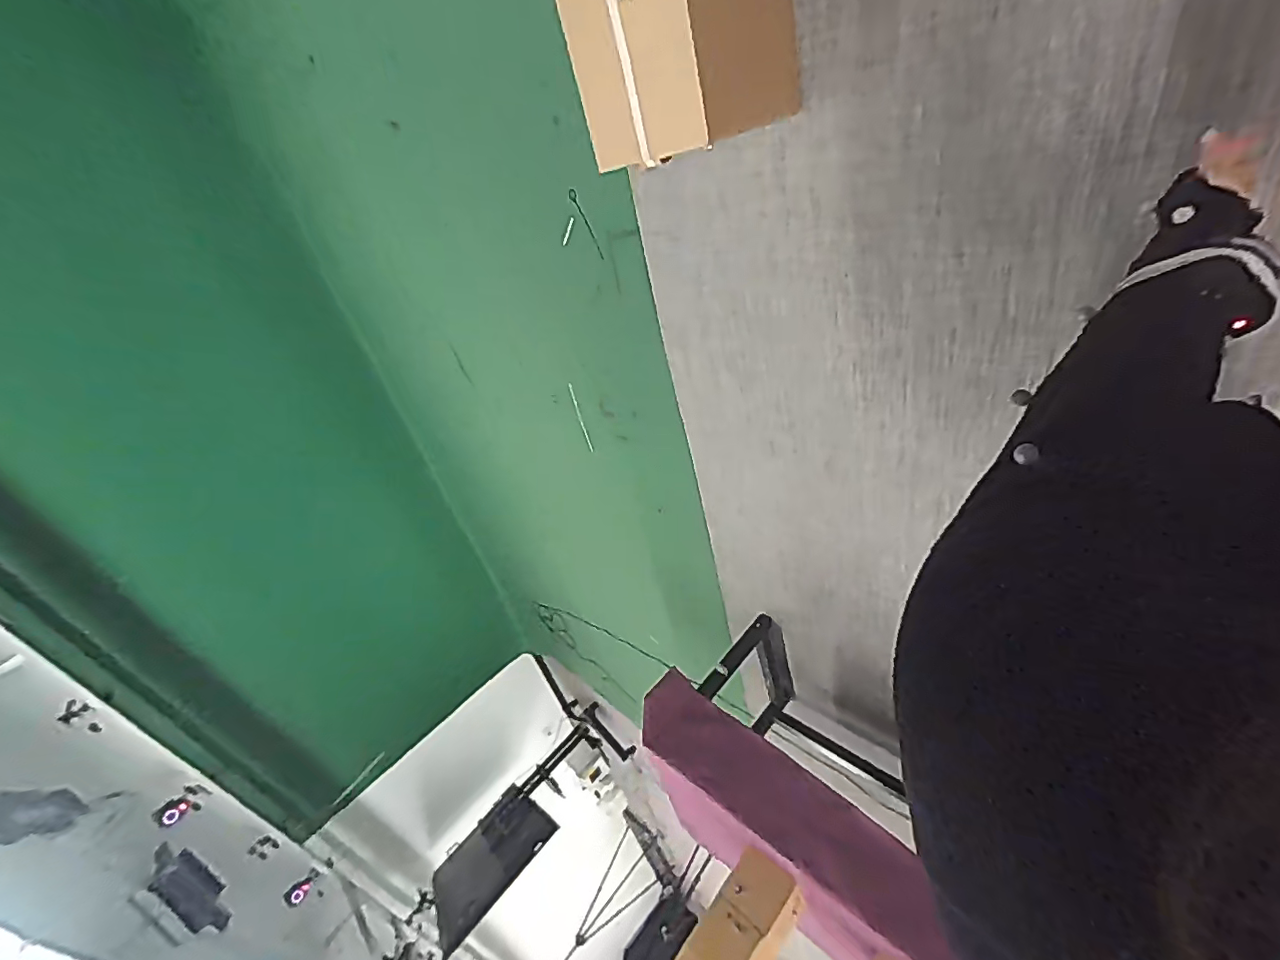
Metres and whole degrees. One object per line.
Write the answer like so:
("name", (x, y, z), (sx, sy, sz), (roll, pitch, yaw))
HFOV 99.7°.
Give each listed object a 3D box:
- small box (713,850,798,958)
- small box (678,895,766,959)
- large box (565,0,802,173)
("small box", (0.349, 1.258, 1.623), (0.179, 0.176, 0.168), (17, 136, 44))
("small box", (0.240, 1.348, 1.542), (0.168, 0.176, 0.179), (16, 134, 45))
("large box", (0.087, -0.870, 1.048), (0.320, 0.320, 0.408), (20, 136, 43))
